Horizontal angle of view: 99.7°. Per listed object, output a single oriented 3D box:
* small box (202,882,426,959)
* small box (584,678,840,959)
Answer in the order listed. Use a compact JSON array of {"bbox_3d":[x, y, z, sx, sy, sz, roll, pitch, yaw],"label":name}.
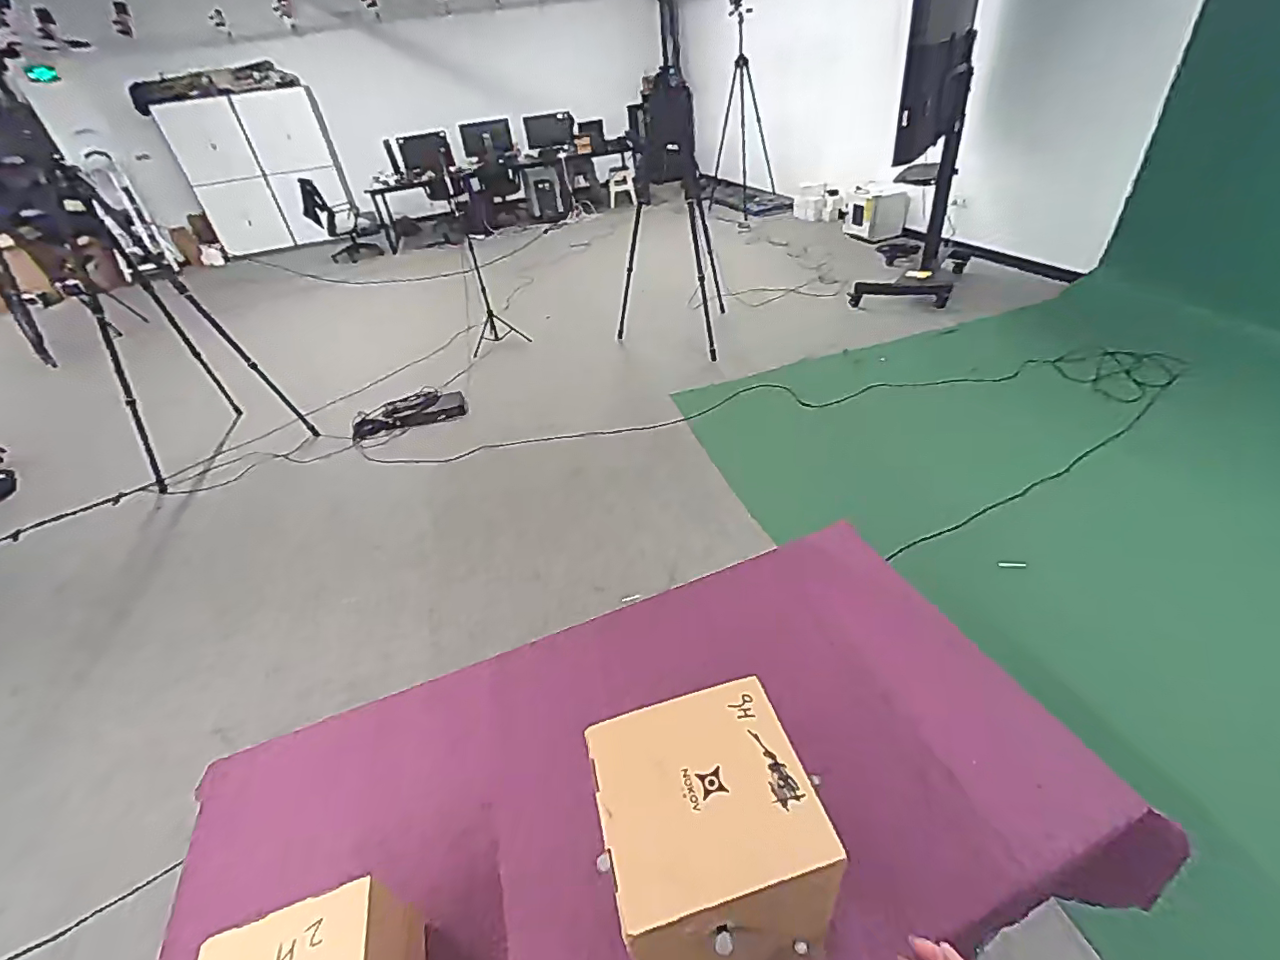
[{"bbox_3d":[-0.324,0.556,0.540,0.168,0.176,0.179,-16,37,-11],"label":"small box"},{"bbox_3d":[0.060,0.322,0.500,0.179,0.176,0.168,-15,37,-7],"label":"small box"}]
